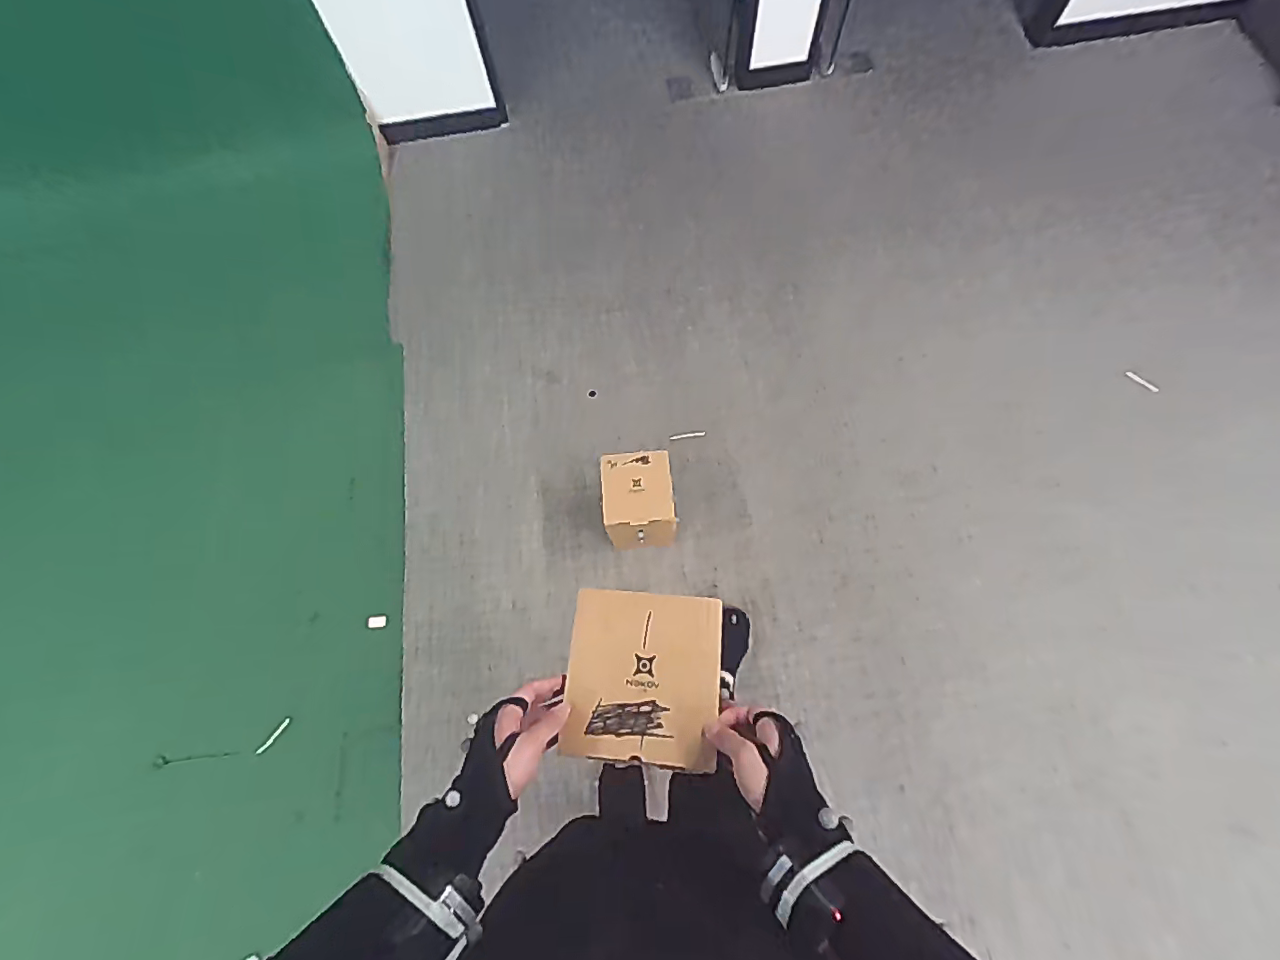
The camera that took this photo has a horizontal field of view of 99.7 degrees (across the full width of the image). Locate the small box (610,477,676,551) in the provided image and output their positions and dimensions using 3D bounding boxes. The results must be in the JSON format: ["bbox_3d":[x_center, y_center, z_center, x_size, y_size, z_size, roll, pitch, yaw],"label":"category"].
[{"bbox_3d":[0.010,0.099,1.505,0.179,0.176,0.168,-3,71,1],"label":"small box"}]

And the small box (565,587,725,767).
[{"bbox_3d":[0.015,0.242,0.672,0.168,0.176,0.179,4,67,5],"label":"small box"}]

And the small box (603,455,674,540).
[{"bbox_3d":[-0.001,0.050,1.349,0.168,0.176,0.179,-4,72,1],"label":"small box"}]
